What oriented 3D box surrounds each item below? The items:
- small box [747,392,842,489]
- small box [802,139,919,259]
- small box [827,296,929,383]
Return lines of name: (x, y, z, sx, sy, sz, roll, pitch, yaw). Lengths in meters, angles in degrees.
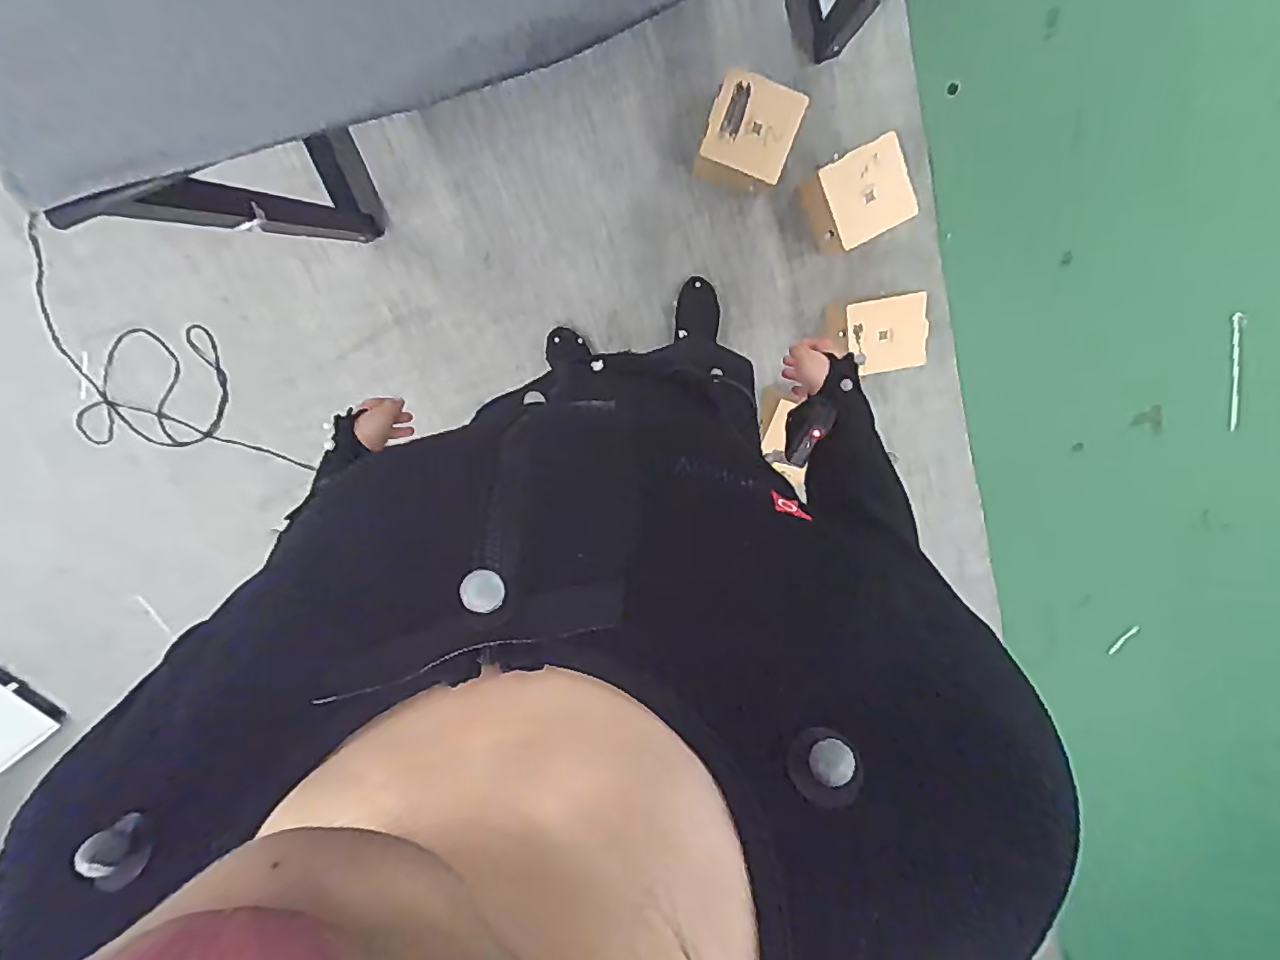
small box: (0.384, -0.106, 1.386, 0.168, 0.176, 0.179, 19, 109, -5)
small box: (0.479, -0.609, 1.195, 0.168, 0.176, 0.179, -25, 108, 10)
small box: (0.561, -0.341, 1.292, 0.179, 0.176, 0.168, -8, 111, 5)
